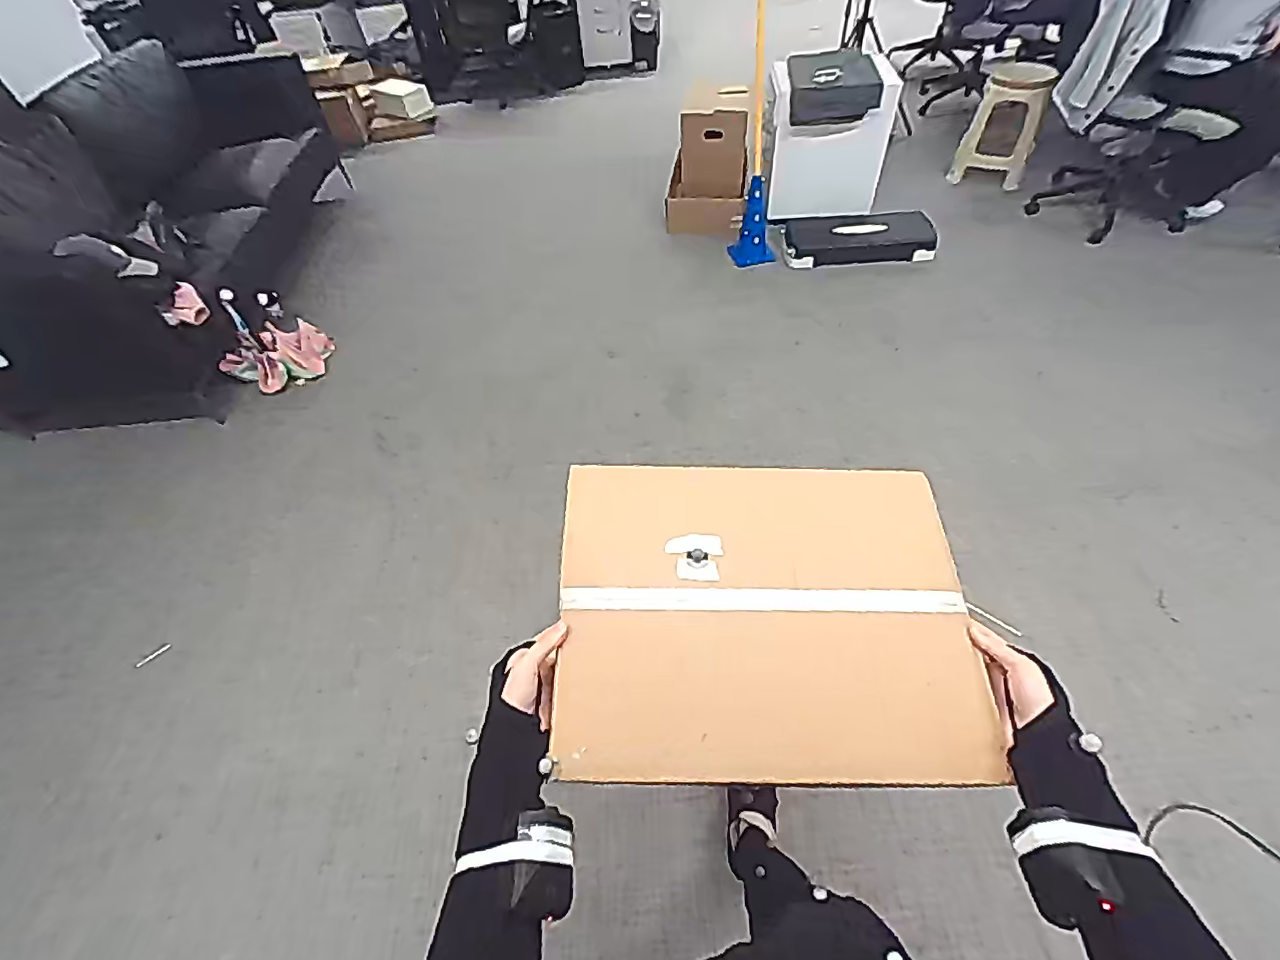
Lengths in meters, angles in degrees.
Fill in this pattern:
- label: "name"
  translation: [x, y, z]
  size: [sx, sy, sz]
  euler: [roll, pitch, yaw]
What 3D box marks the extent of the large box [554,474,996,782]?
- label: "large box"
  translation: [0.121, 0.200, 0.681]
  size: [0.408, 0.320, 0.320]
  euler: [0, 59, -1]
